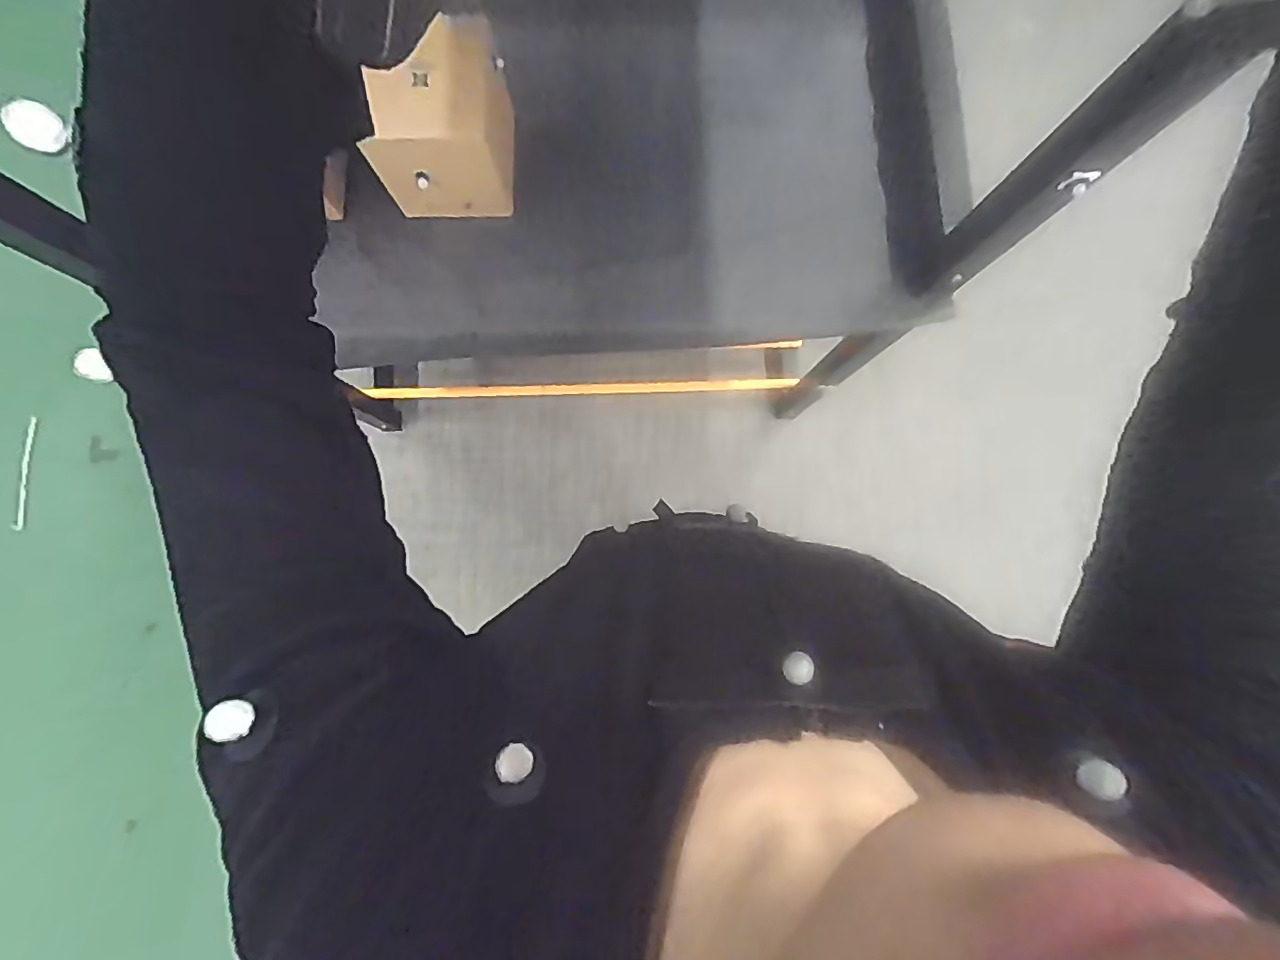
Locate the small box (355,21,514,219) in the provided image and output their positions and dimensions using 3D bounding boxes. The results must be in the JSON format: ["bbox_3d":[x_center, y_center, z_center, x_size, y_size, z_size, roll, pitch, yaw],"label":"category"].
[{"bbox_3d":[-0.277,-0.494,0.765,0.168,0.176,0.179,-1,82,-1],"label":"small box"}]
